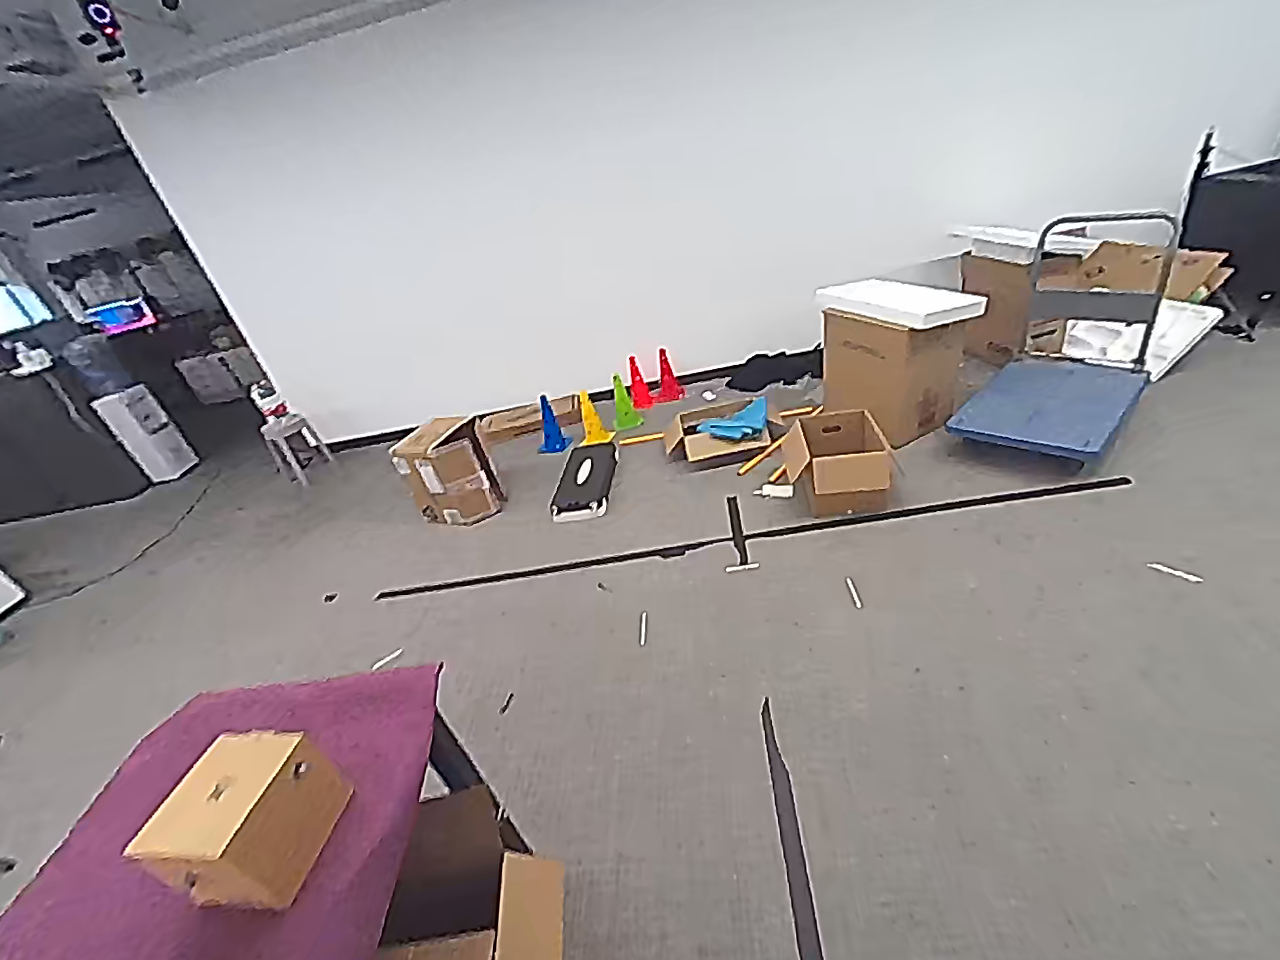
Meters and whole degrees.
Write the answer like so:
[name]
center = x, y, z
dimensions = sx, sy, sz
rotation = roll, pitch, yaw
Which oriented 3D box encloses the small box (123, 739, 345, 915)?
[small box]
center = -0.593, 0.524, 0.820
dimensions = 0.168, 0.176, 0.179
rotation = -7, 31, 12
